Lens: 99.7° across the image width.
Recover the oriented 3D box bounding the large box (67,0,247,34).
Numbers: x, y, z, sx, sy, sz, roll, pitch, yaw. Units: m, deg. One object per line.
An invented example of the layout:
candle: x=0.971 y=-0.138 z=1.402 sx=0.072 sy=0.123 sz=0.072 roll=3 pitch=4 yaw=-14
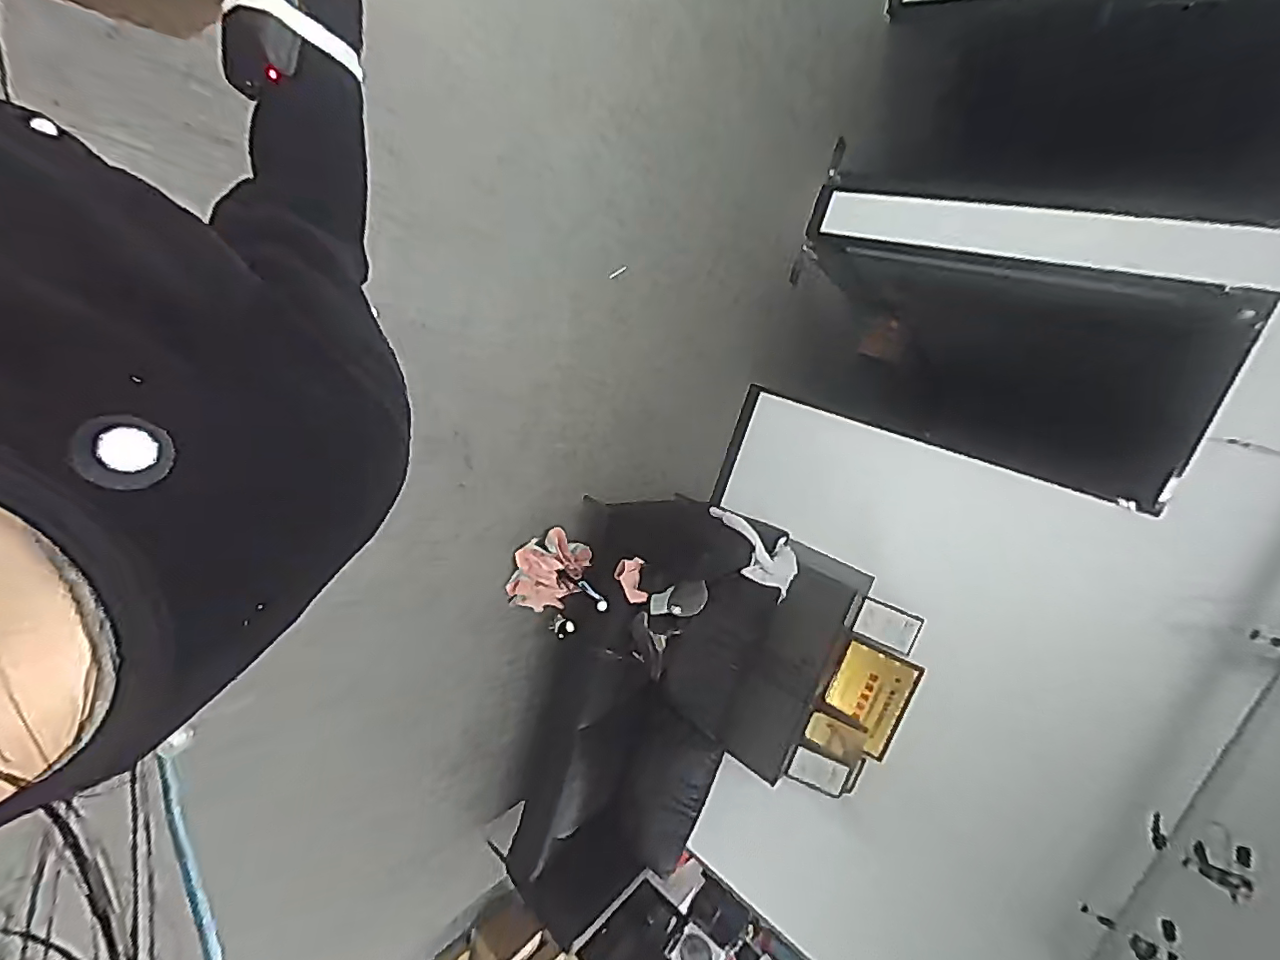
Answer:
large box: x=-0.477 y=-0.519 z=0.290 sx=0.408 sy=0.320 sz=0.320 roll=-15 pitch=120 yaw=-47
